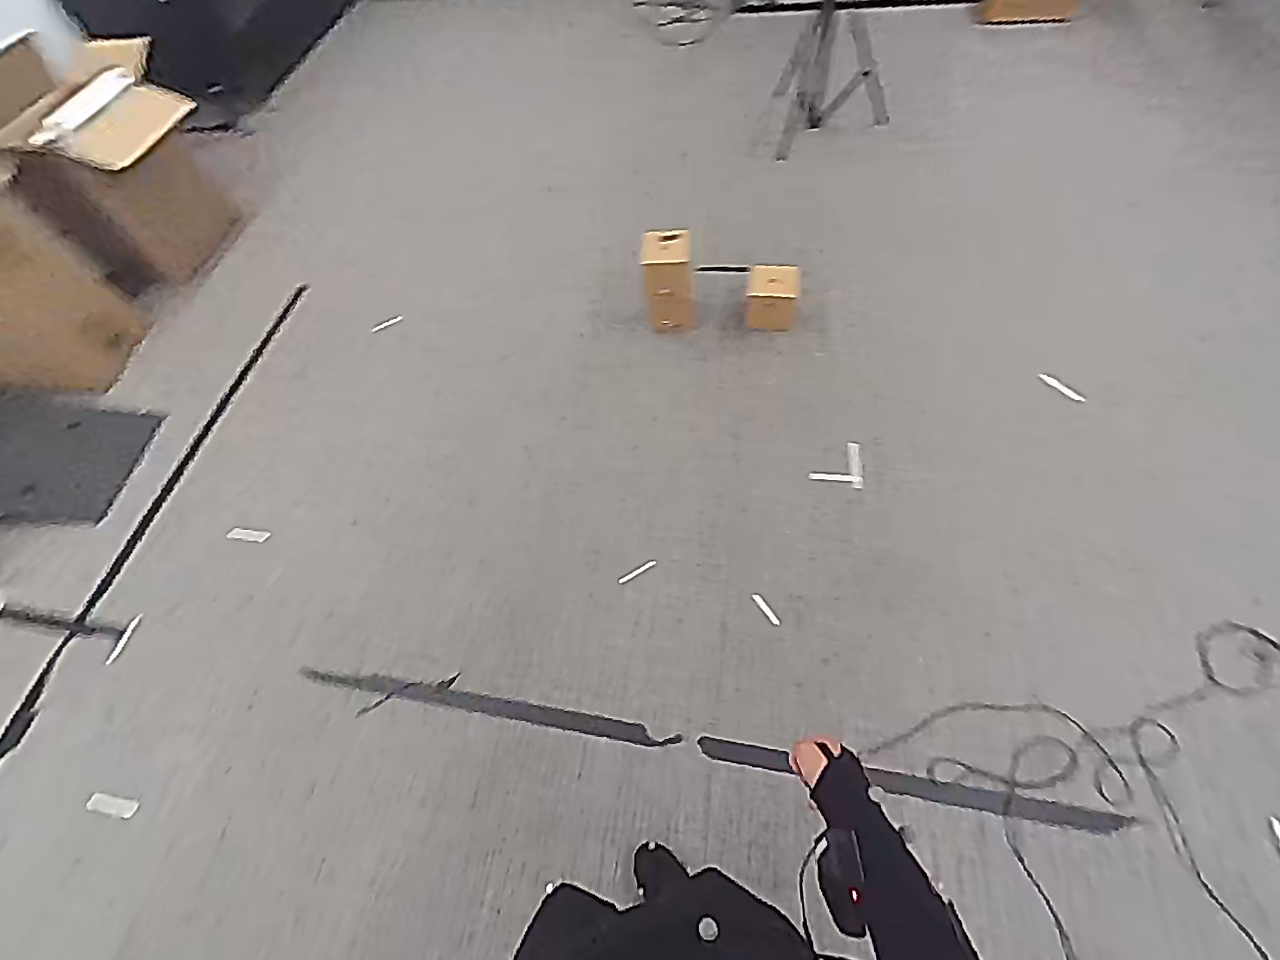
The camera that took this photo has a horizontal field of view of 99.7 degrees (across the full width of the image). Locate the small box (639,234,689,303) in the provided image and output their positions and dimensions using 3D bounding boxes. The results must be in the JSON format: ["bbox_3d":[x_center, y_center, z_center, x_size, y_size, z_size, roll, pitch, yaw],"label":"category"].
[{"bbox_3d":[0.092,-0.775,1.990,0.168,0.176,0.179,1,61,8],"label":"small box"}]

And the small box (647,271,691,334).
[{"bbox_3d":[0.116,-0.697,2.132,0.168,0.176,0.179,0,60,7],"label":"small box"}]

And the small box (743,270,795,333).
[{"bbox_3d":[0.494,-0.685,2.083,0.179,0.176,0.168,7,61,9],"label":"small box"}]
